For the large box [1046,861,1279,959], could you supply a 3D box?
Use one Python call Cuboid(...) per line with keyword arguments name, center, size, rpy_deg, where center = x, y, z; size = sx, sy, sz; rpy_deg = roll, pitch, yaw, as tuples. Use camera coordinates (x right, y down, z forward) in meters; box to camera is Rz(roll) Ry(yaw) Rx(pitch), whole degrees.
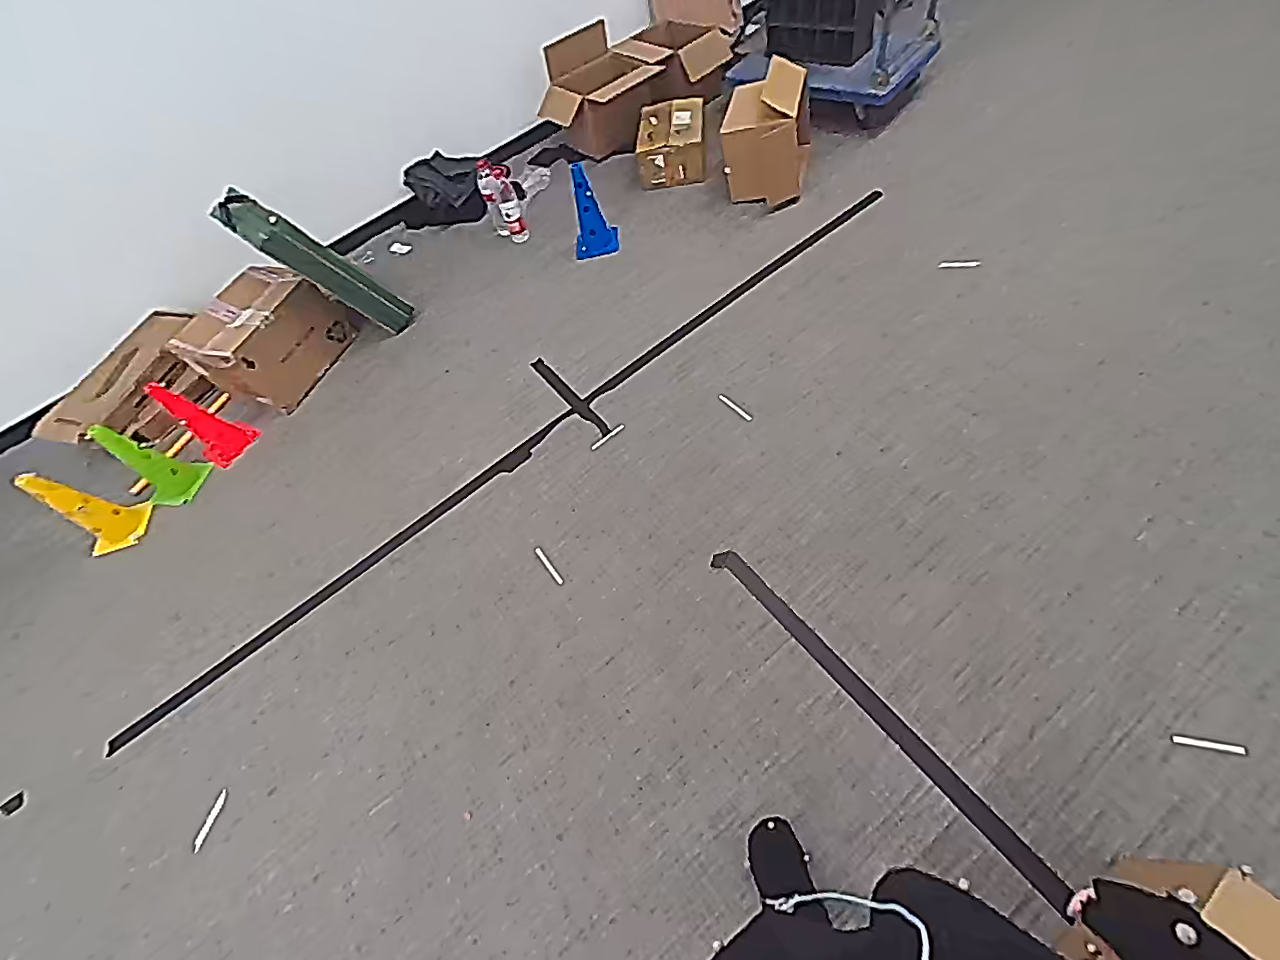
Cuboid(name="large box", center=(0.830, 0.855, 0.792), size=(0.408, 0.320, 0.320), rpy_deg=(-39, 58, -14))
